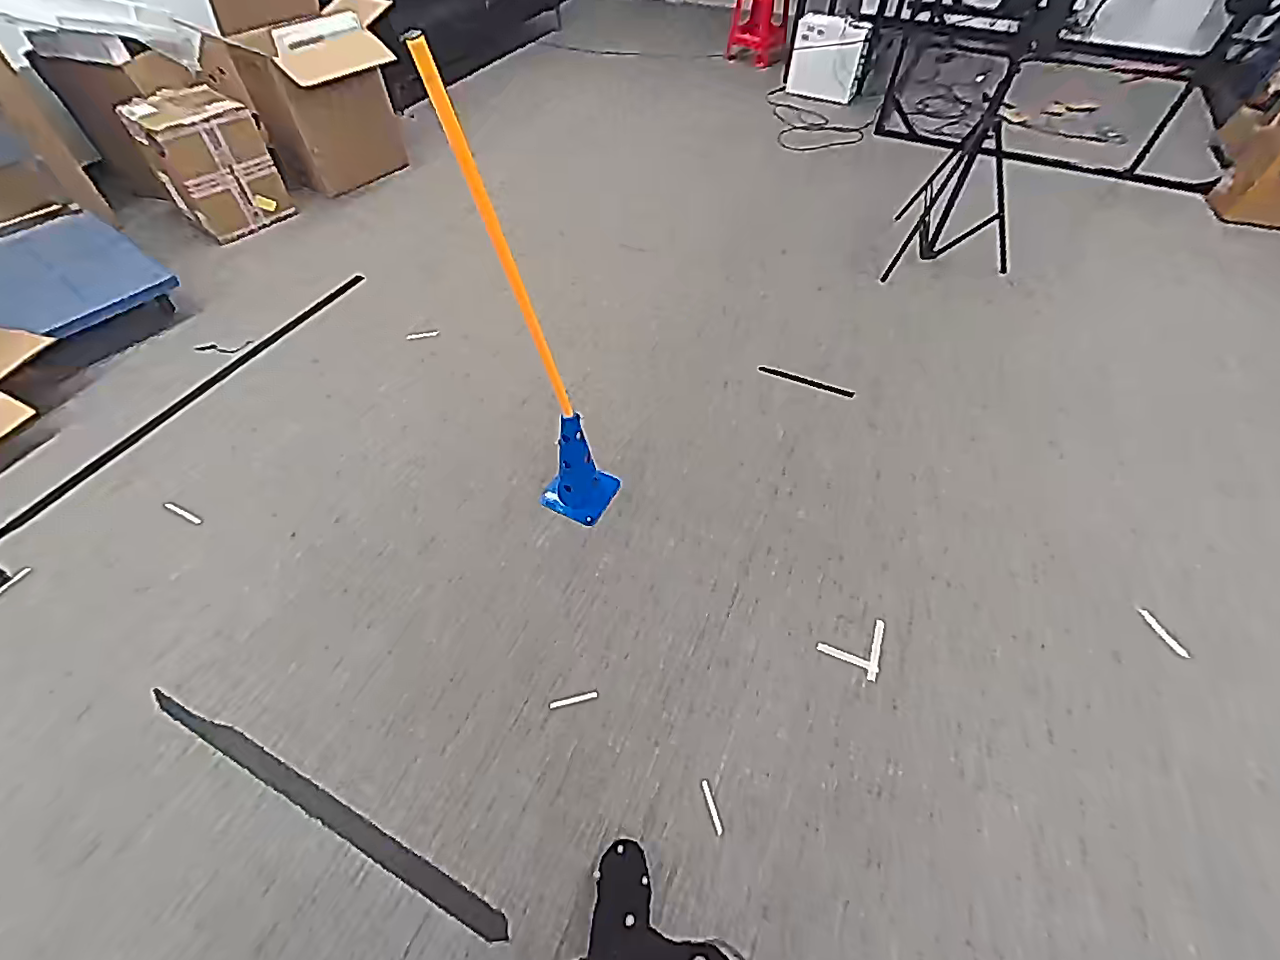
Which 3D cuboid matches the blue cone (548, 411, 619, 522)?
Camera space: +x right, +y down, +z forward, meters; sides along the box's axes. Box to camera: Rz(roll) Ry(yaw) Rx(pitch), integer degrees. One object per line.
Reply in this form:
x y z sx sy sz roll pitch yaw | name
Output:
-0.180 -0.064 1.585 0.192 0.380 0.193 25 57 17 | blue cone
